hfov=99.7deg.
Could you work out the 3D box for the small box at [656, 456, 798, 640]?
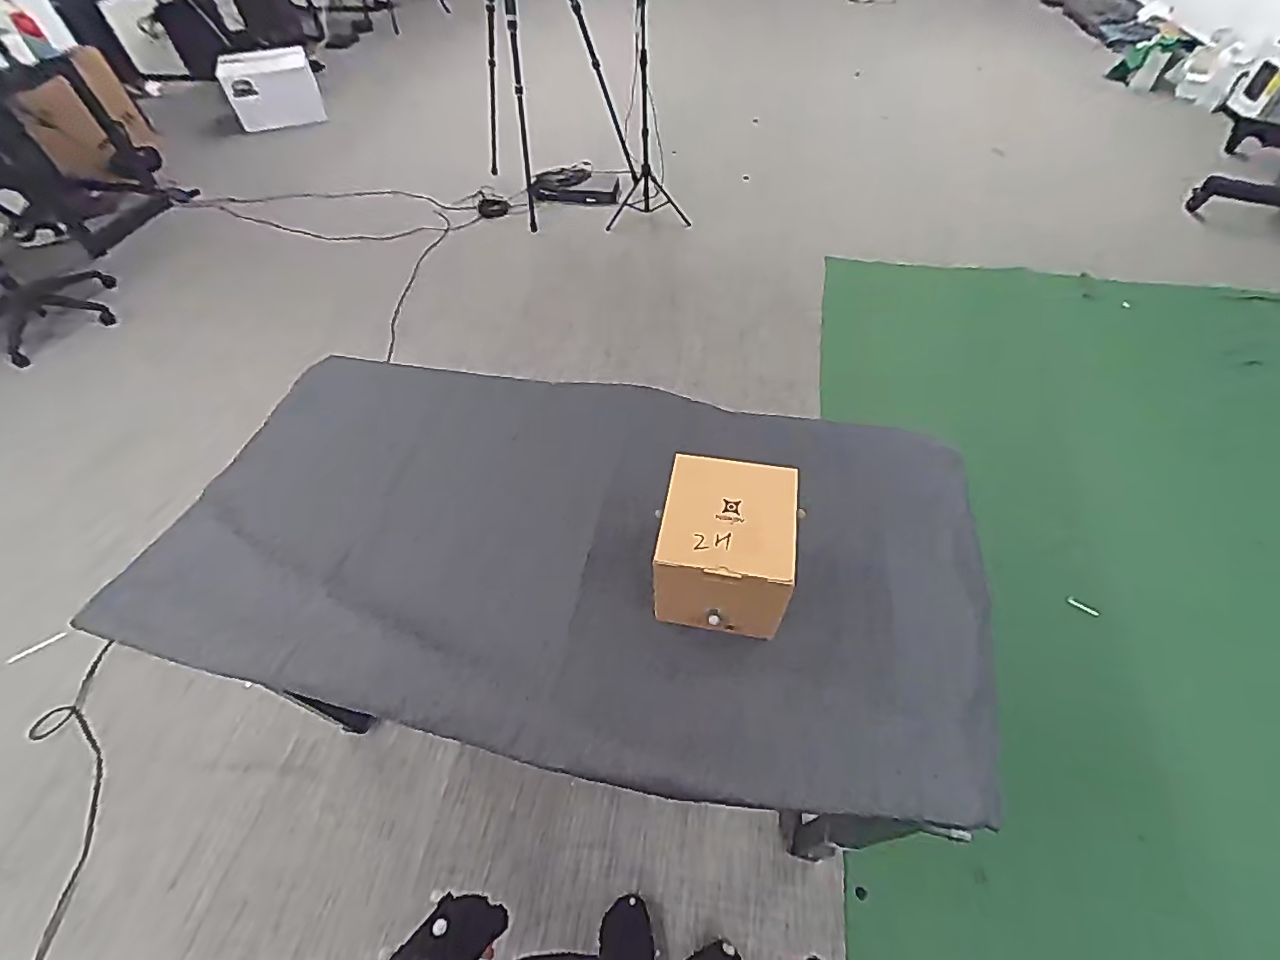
[{"bbox_3d":[0.116,0.095,0.745,0.168,0.176,0.179,8,52,9],"label":"small box"}]
